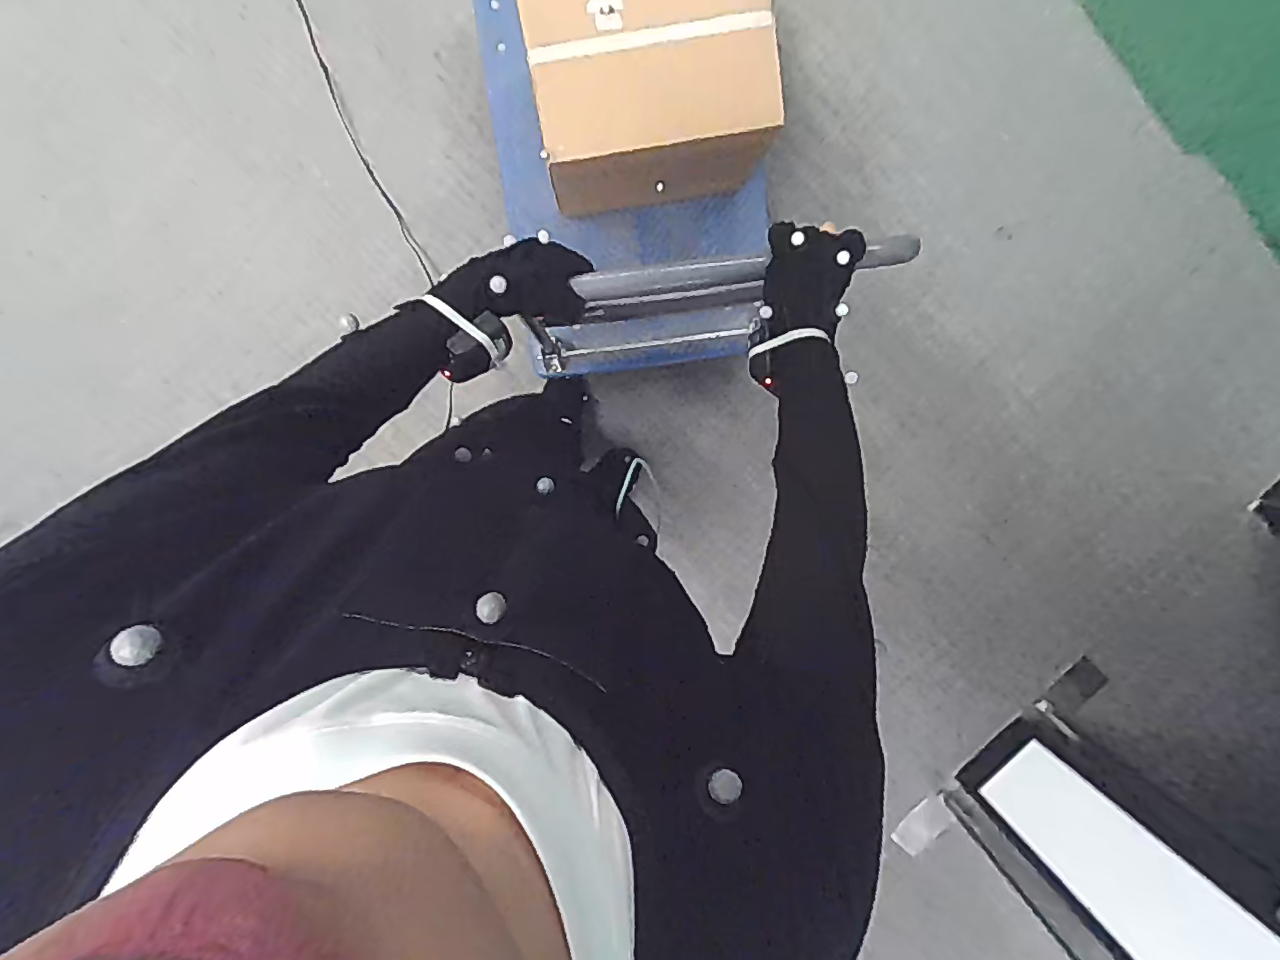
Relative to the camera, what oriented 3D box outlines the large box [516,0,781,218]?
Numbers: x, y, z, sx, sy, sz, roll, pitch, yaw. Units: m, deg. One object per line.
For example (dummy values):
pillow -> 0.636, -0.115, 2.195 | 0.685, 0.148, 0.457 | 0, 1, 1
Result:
large box -> 0.011, -0.734, 1.028 | 0.408, 0.320, 0.320 | -11, 100, -1
